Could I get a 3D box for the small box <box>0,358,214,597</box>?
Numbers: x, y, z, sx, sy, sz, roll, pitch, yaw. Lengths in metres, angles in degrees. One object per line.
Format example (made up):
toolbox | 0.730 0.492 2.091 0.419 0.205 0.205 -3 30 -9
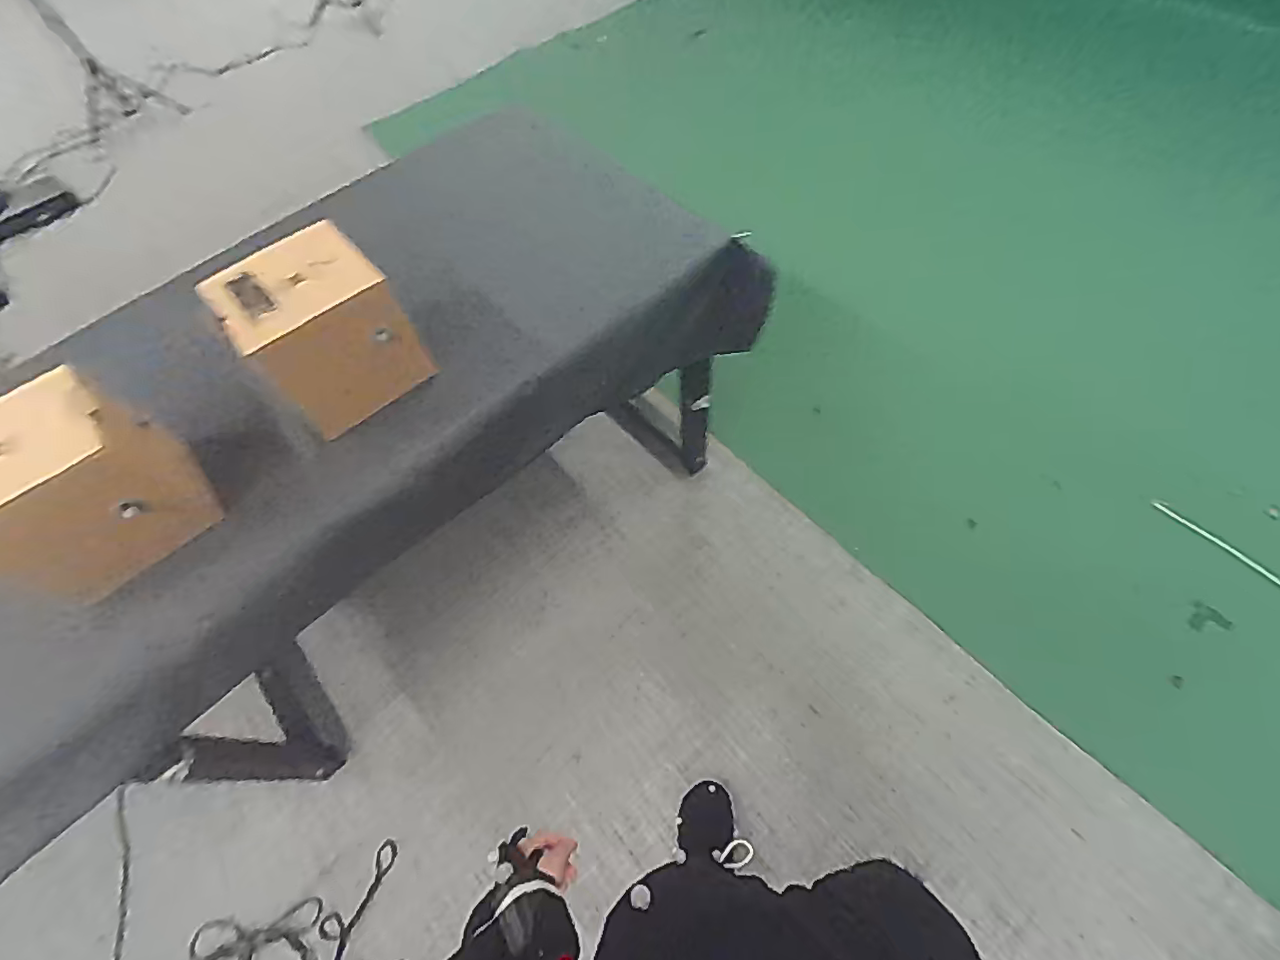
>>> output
small box | -0.641 0.003 0.620 0.179 0.176 0.168 -40 64 -16
